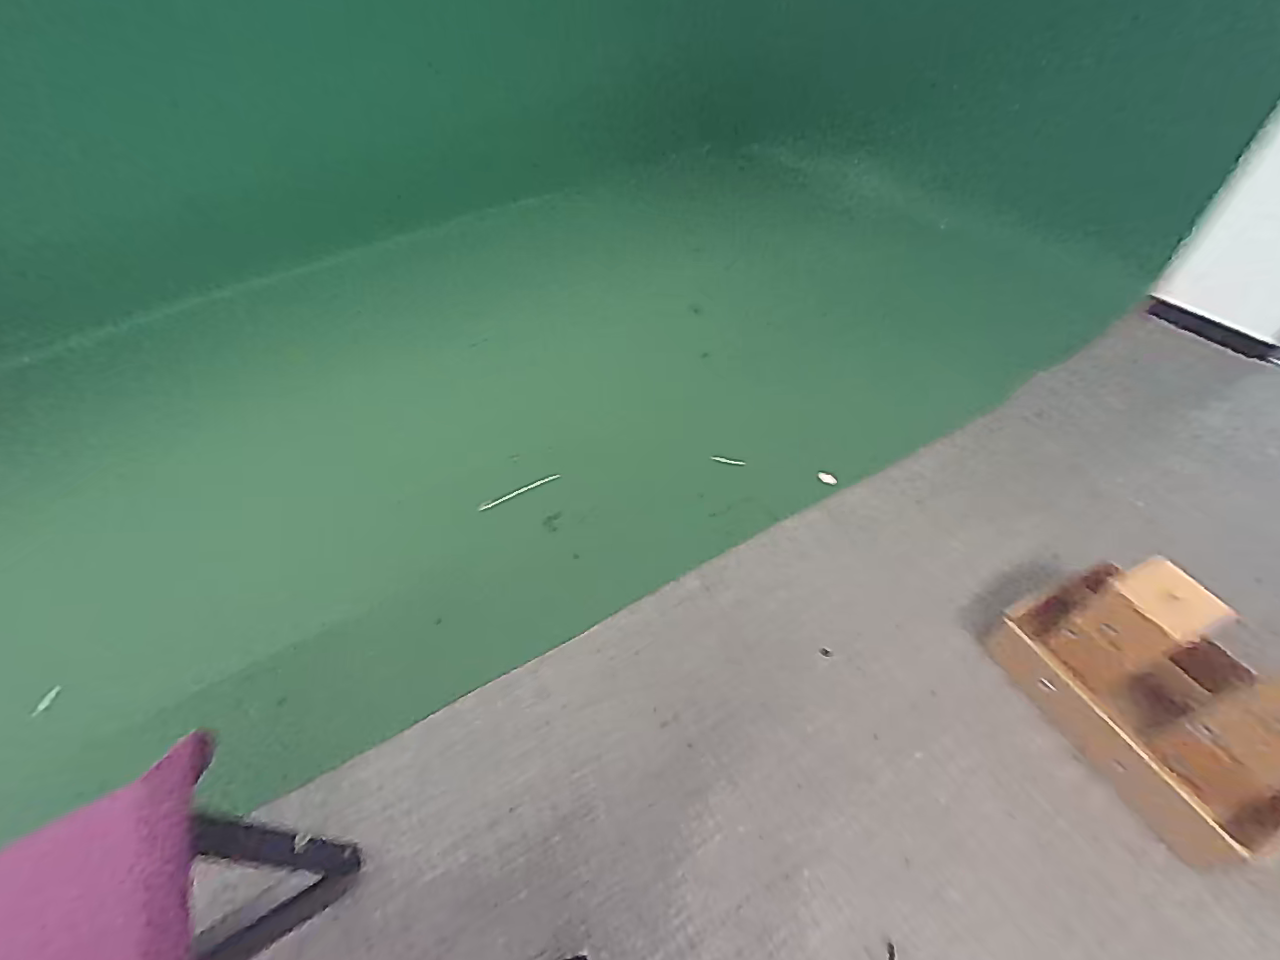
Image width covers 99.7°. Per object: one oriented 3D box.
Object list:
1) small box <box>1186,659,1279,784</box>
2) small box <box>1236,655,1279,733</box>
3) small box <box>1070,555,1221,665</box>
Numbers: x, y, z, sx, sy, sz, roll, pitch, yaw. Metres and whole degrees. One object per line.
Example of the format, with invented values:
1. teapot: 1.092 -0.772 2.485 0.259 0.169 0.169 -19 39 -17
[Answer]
1. small box: 1.324 0.508 1.137 0.179 0.176 0.168 -20 50 -13
2. small box: 1.307 0.400 1.014 0.179 0.176 0.168 -23 49 -13
3. small box: 1.208 0.317 1.310 0.179 0.176 0.168 -22 52 -14
